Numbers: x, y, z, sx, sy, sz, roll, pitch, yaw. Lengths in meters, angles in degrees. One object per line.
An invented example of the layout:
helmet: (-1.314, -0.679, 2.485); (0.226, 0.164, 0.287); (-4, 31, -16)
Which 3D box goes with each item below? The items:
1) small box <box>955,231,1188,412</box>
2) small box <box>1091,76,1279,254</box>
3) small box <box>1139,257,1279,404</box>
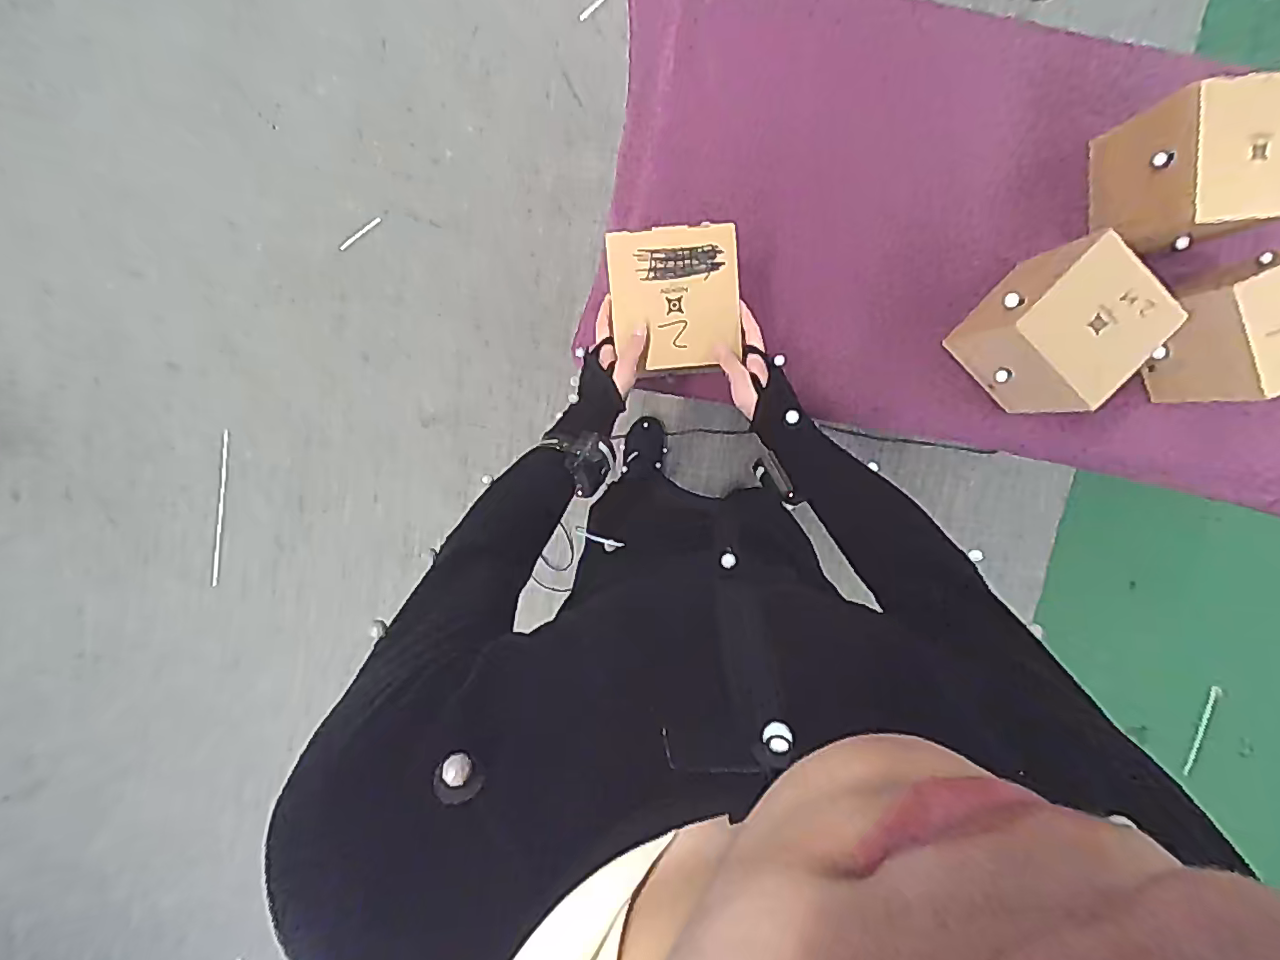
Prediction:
small box: (0.601, -0.215, 0.787); (0.168, 0.176, 0.179); (43, 94, -6)
small box: (0.788, -0.430, 0.769); (0.168, 0.176, 0.179); (-5, 97, 0)
small box: (0.886, -0.220, 0.795); (0.179, 0.176, 0.168); (-24, 96, 3)
